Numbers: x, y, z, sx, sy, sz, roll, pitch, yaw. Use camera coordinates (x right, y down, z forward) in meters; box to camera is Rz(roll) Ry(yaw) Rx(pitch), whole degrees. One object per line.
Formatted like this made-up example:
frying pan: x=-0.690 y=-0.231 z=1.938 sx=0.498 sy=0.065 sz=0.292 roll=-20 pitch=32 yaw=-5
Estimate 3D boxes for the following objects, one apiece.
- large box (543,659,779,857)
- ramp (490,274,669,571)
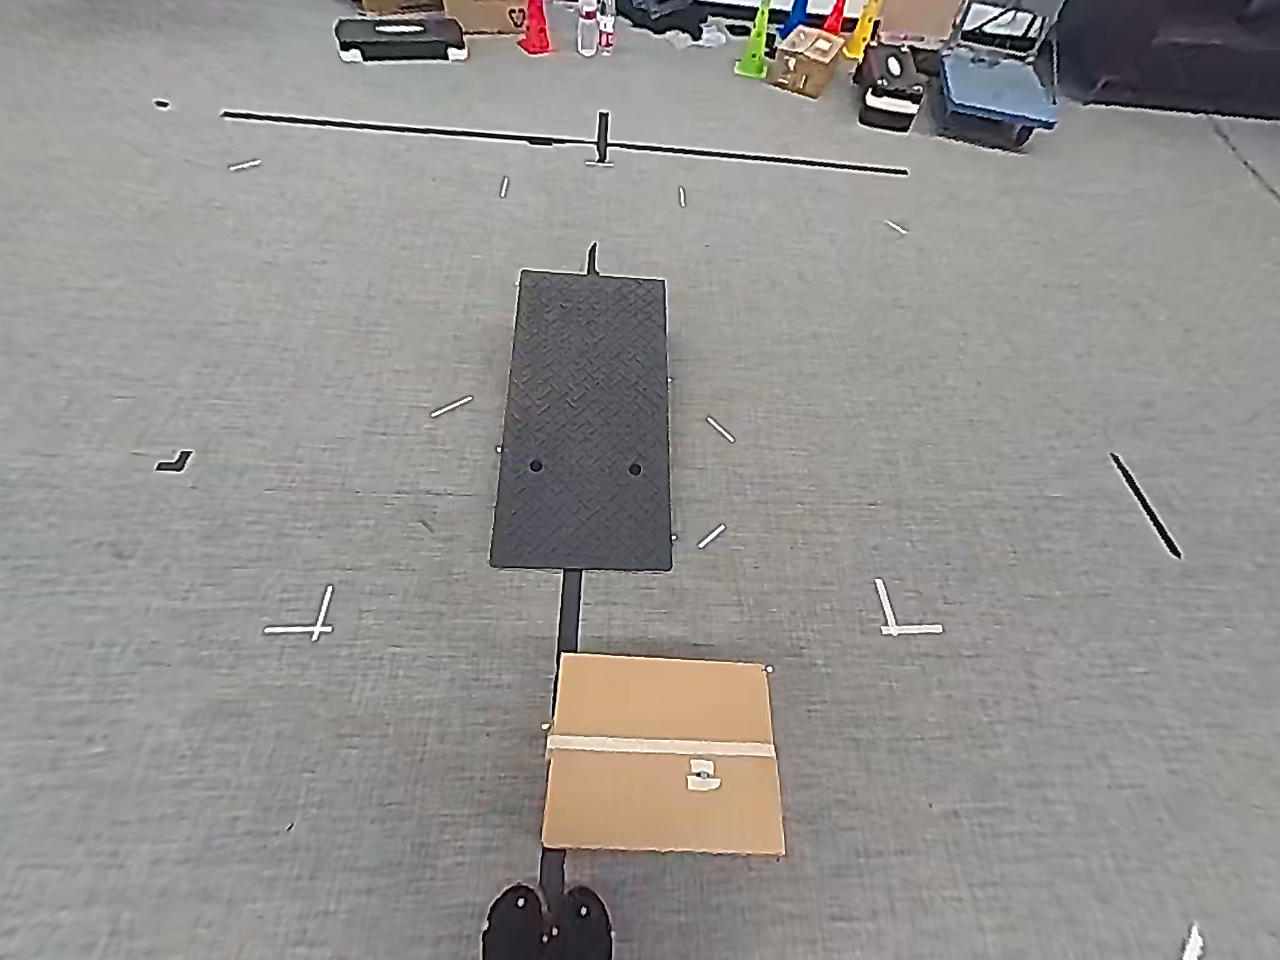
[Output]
large box: x=0.021 y=0.569 z=1.093 sx=0.408 sy=0.320 sz=0.320 roll=5 pitch=57 yaw=-5
ramp: x=-0.160 y=-0.218 z=1.650 sx=0.509 sy=0.206 sz=0.991 roll=1 pitch=58 yaw=-7
